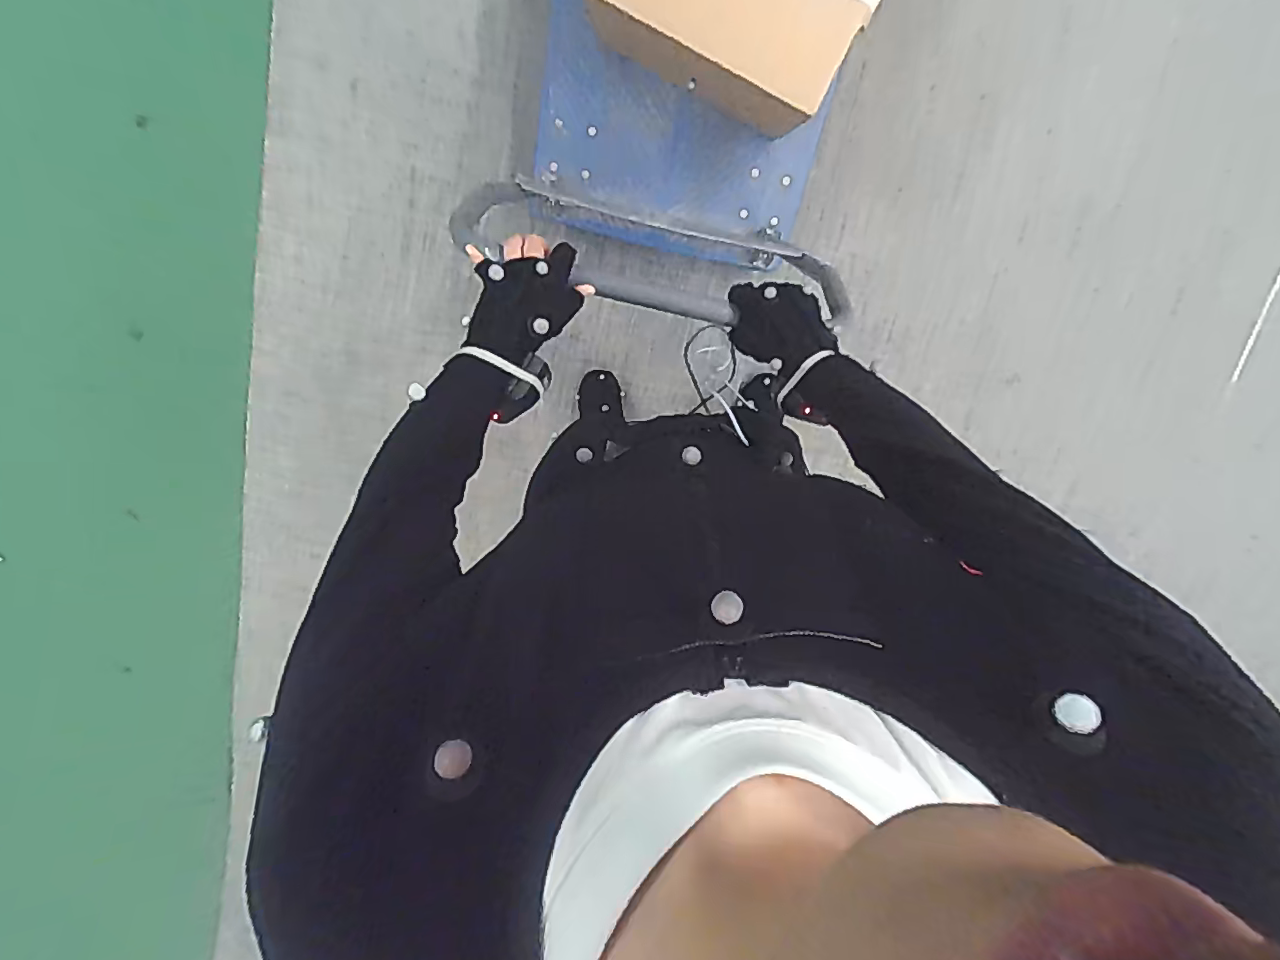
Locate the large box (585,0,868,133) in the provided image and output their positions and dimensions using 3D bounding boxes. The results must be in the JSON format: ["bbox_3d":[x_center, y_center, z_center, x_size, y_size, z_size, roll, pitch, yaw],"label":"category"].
[{"bbox_3d":[0.161,-0.837,0.890,0.408,0.320,0.320,24,115,-8],"label":"large box"}]
